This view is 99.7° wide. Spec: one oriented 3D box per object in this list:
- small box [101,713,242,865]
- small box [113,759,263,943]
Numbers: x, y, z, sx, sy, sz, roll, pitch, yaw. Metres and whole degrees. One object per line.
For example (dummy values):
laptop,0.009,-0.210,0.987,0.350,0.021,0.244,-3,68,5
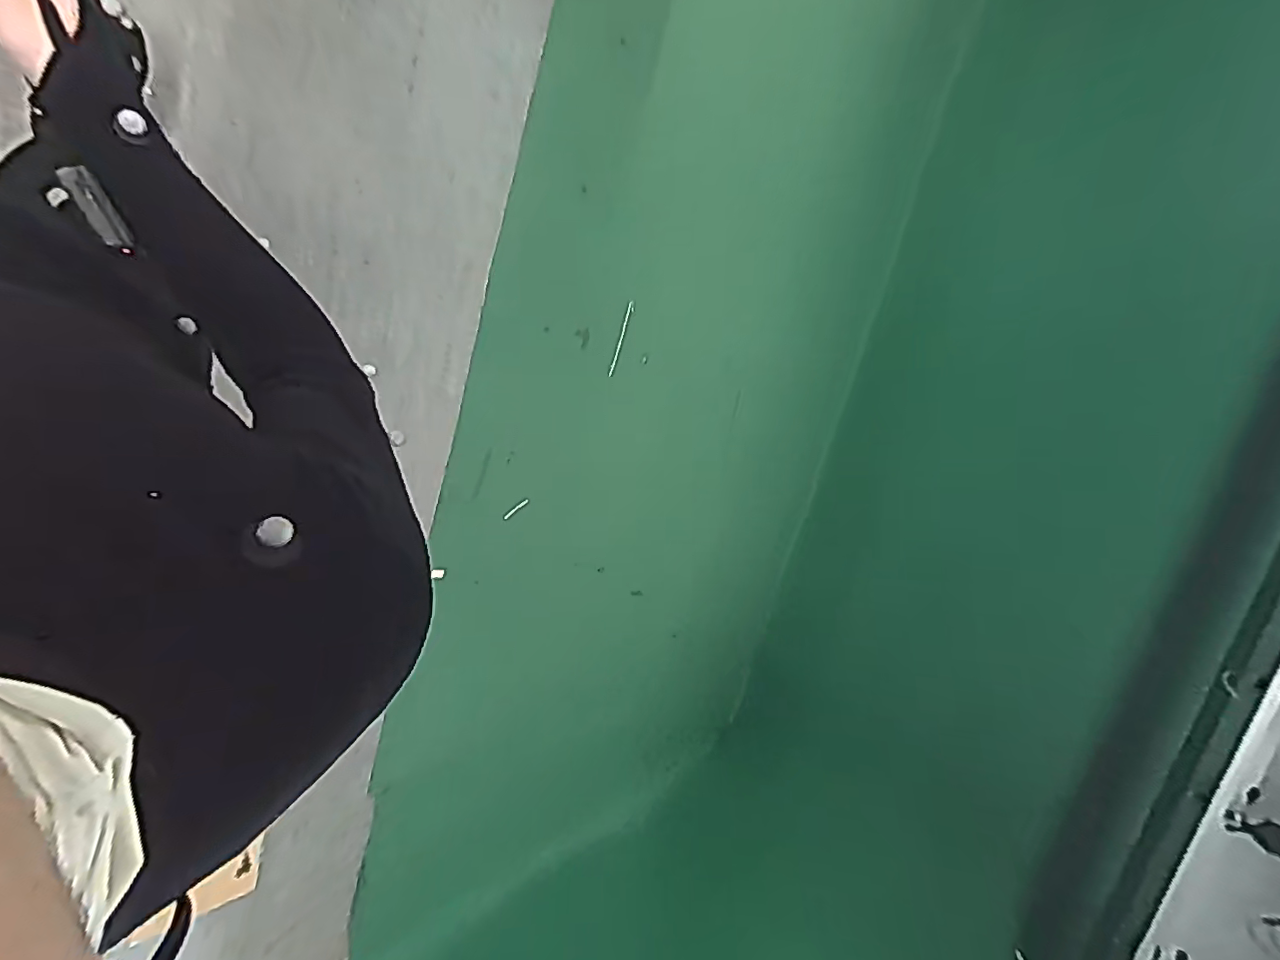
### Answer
small box,-0.916,0.586,1.057,0.179,0.176,0.168,7,102,-49
small box,-0.799,0.635,0.953,0.179,0.176,0.168,4,105,-49
